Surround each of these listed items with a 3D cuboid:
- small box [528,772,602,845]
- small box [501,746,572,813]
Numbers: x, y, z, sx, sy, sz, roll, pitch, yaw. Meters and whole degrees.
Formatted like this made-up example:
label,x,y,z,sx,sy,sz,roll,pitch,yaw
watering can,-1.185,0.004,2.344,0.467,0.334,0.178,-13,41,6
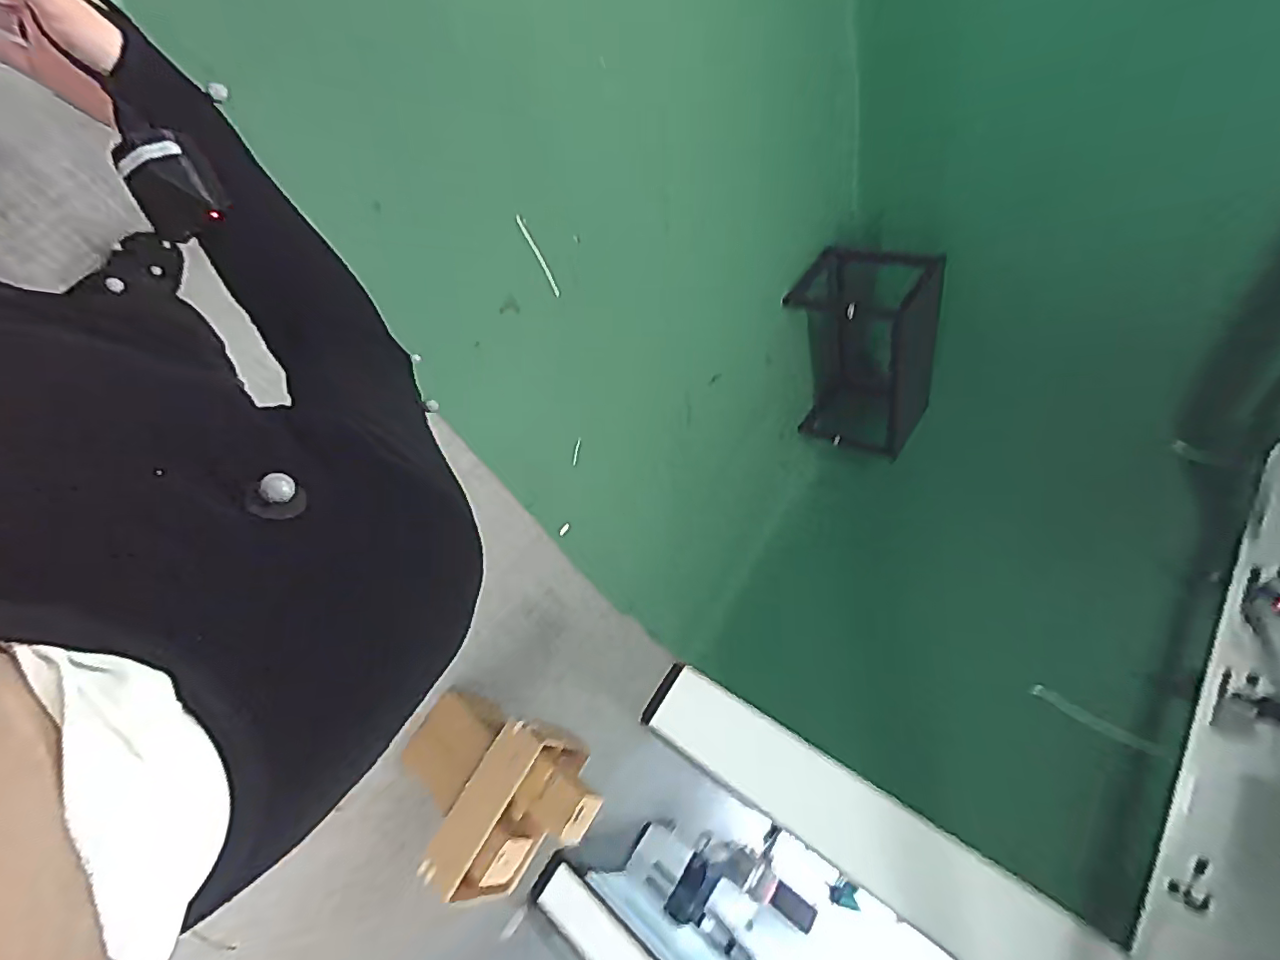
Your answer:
label,x,y,z,sx,sy,sz,roll,pitch,yaw
small box,-0.279,1.209,1.996,0.168,0.176,0.179,-55,144,-17
small box,-0.403,1.156,2.090,0.168,0.176,0.179,-58,145,-14
